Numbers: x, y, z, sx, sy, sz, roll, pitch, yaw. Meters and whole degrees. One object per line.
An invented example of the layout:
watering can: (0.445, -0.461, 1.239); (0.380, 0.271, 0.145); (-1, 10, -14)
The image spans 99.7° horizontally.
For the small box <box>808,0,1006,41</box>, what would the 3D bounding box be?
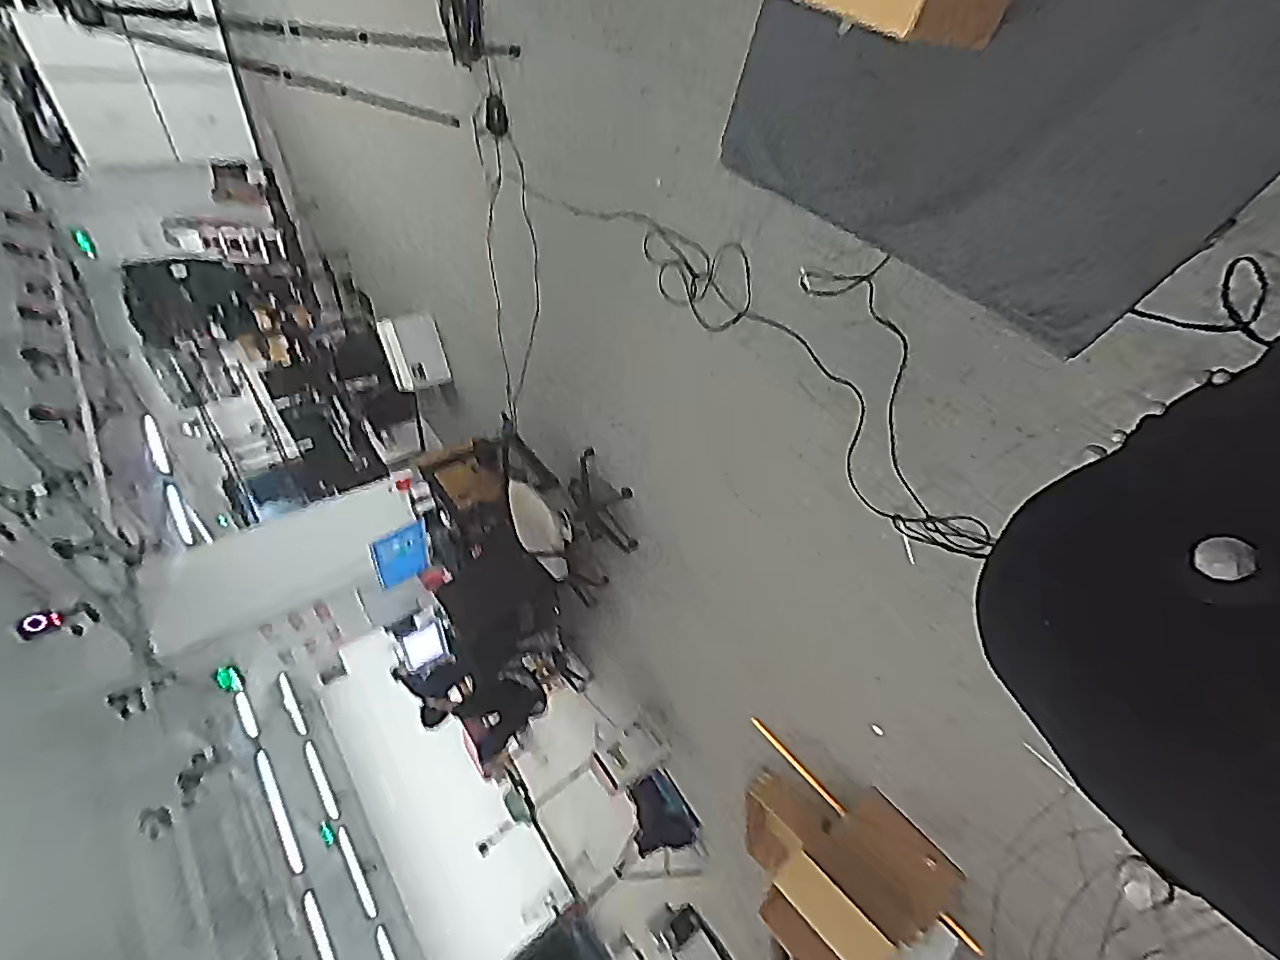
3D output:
small box: (0.273, -0.551, 0.524); (0.179, 0.176, 0.168); (47, 145, 26)
